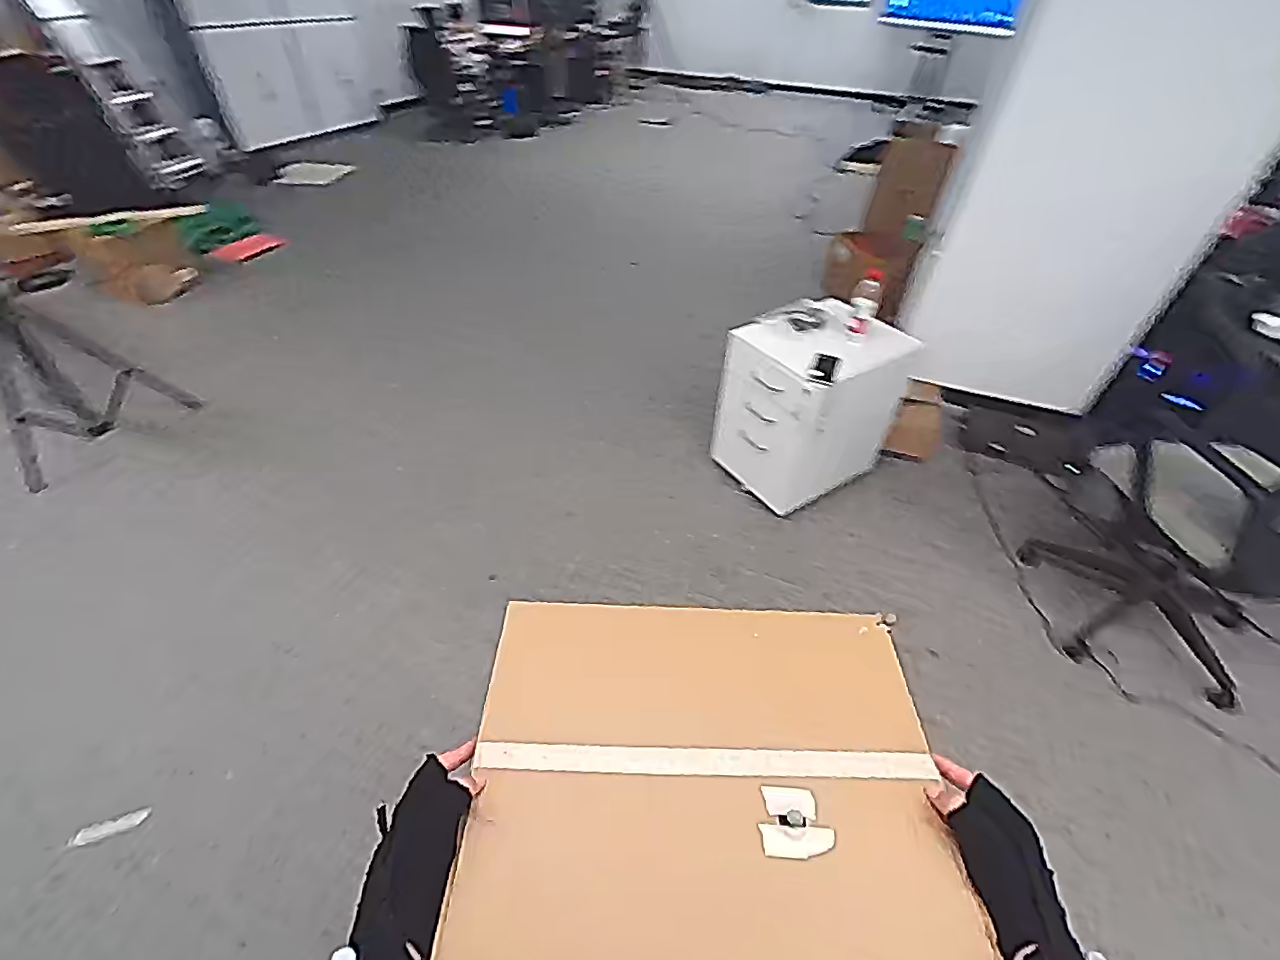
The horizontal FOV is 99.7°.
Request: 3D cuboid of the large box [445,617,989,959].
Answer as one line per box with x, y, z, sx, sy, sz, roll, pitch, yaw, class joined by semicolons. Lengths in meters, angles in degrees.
0.048;0.366;0.582;0.408;0.320;0.320;2;45;-2;large box
